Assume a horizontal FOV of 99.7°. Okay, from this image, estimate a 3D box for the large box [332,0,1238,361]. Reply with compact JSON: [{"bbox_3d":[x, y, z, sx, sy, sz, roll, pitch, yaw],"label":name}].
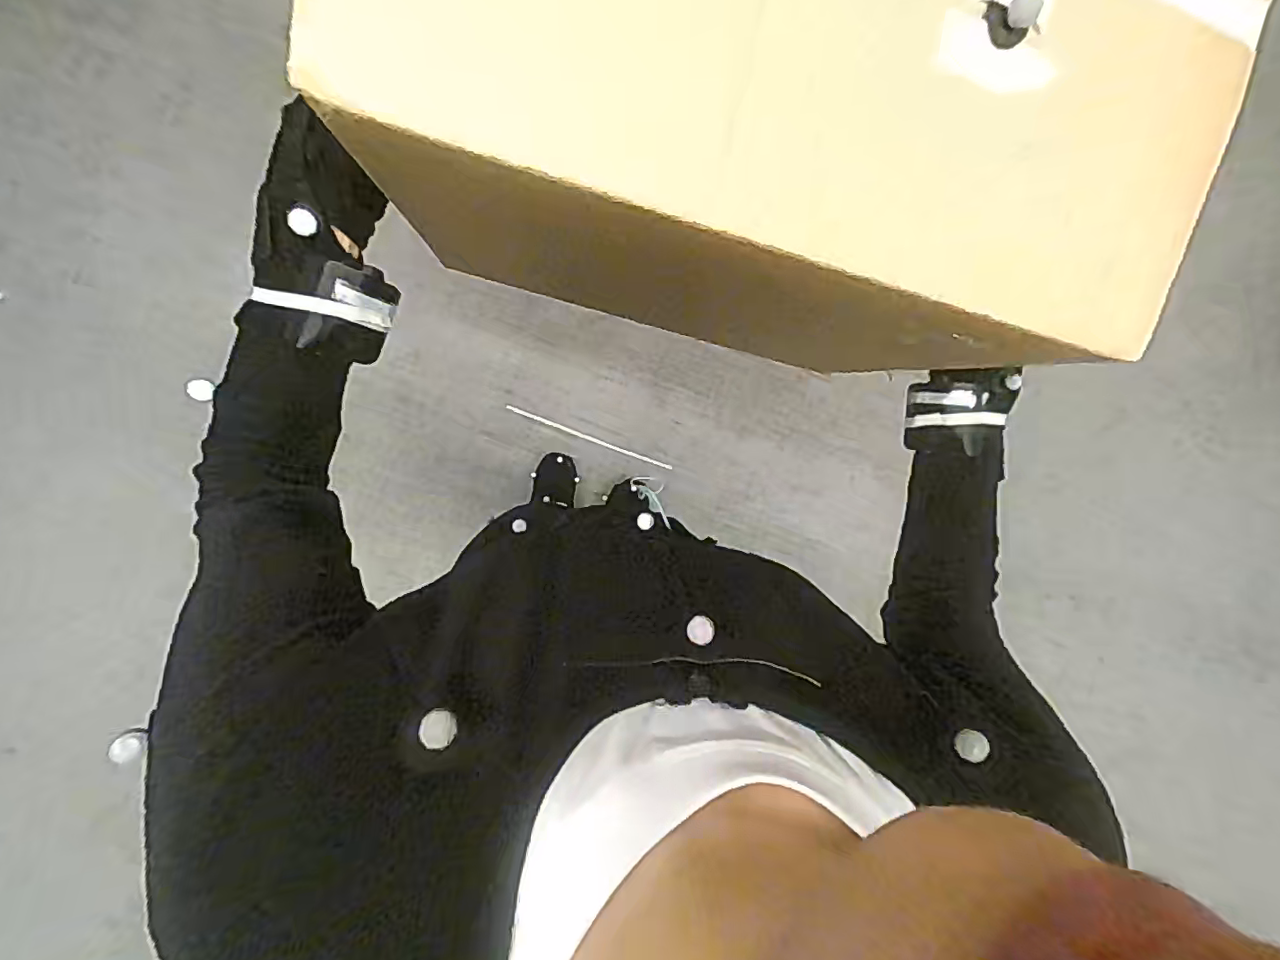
[{"bbox_3d":[0.072,-0.284,0.373,0.408,0.320,0.320,12,98,-13],"label":"large box"}]
